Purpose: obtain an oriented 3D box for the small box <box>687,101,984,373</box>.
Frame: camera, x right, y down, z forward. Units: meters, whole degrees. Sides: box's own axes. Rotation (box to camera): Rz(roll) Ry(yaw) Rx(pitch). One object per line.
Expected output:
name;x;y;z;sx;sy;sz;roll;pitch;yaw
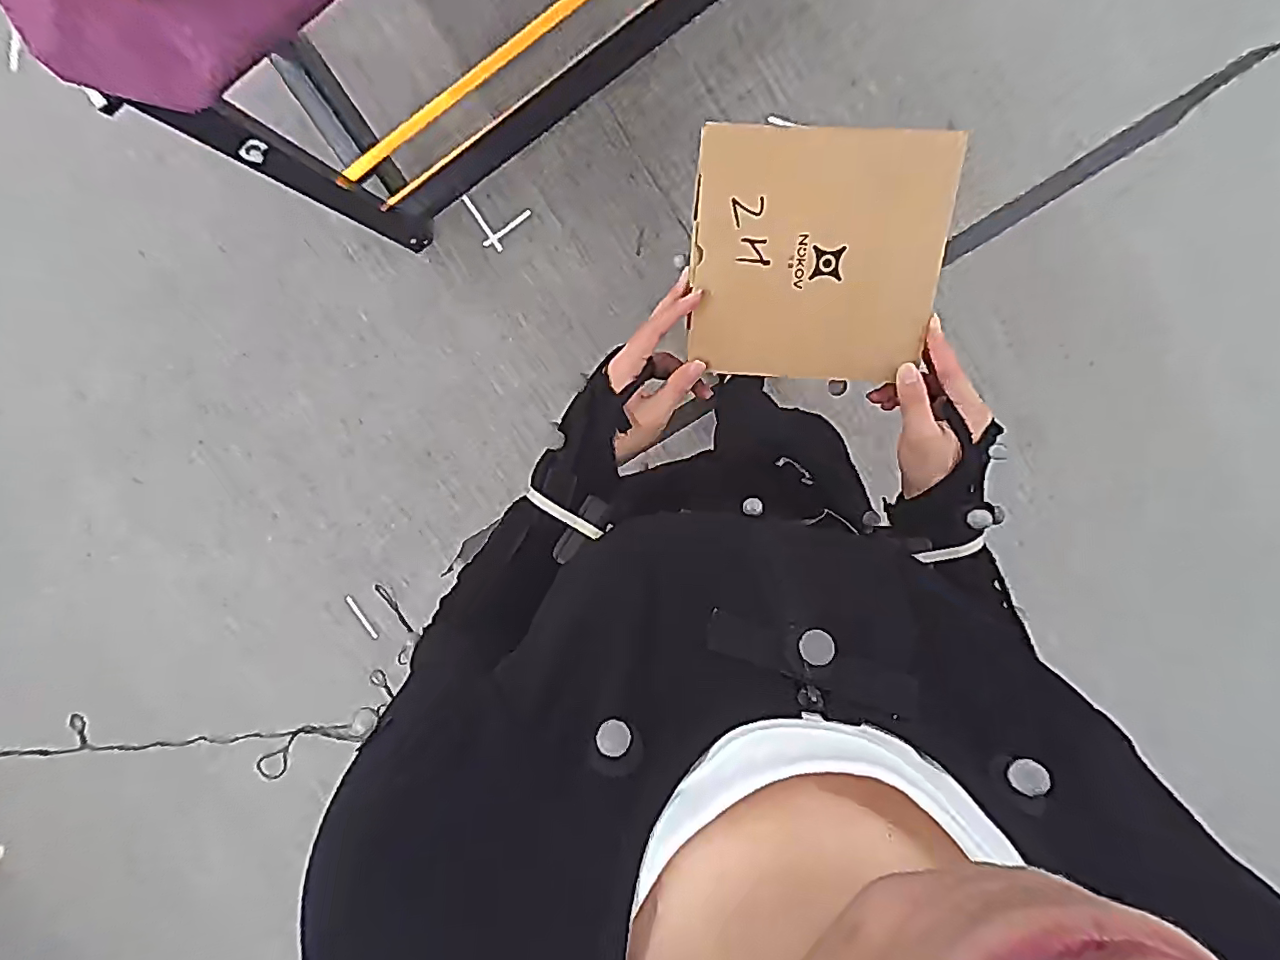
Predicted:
small box;0.134;-0.188;0.447;0.179;0.176;0.168;4;108;3
